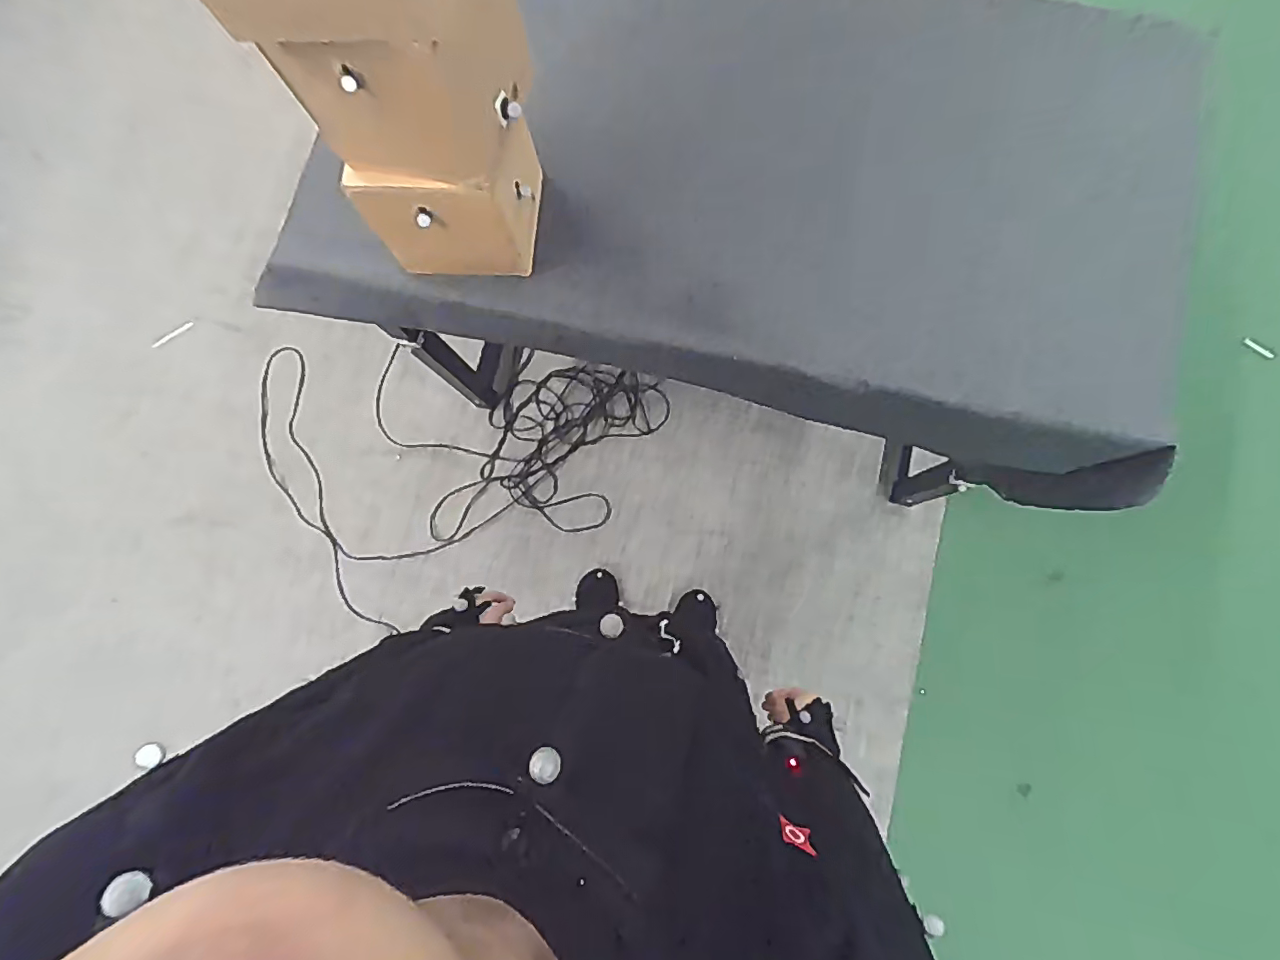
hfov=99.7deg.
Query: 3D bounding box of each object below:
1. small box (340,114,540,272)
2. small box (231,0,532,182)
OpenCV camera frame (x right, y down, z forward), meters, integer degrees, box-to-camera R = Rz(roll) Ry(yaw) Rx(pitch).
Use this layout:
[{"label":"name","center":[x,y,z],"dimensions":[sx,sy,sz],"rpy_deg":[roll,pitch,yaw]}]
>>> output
[{"label":"small box","center":[-0.231,-0.379,0.675],"dimensions":[0.179,0.176,0.168],"rpy_deg":[3,79,4]},{"label":"small box","center":[-0.223,-0.419,0.517],"dimensions":[0.179,0.176,0.168],"rpy_deg":[12,81,5]}]
